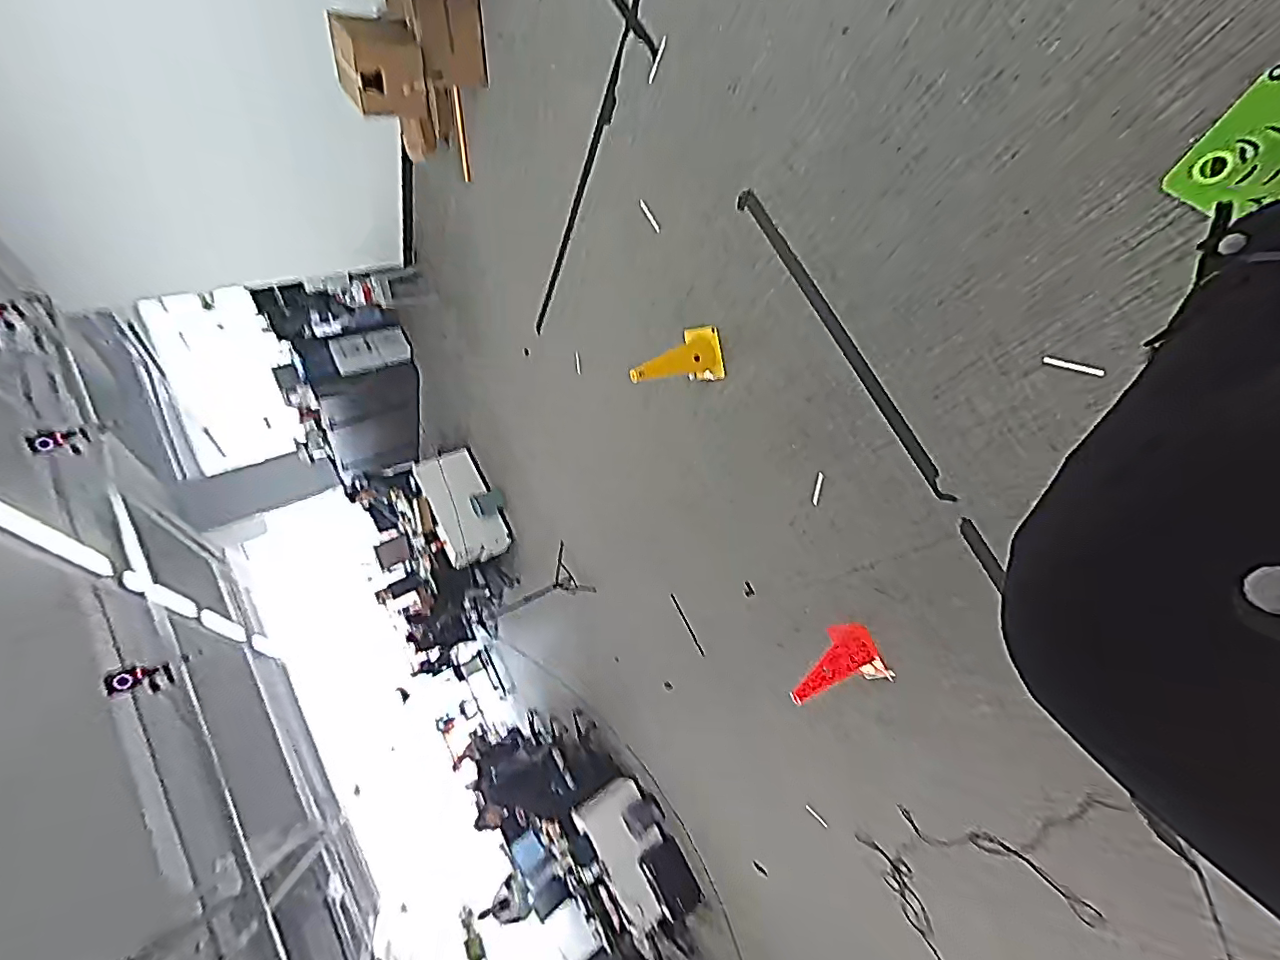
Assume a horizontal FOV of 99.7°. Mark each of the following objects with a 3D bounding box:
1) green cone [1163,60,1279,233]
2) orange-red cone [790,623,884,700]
[{"bbox_3d":[0.896,-0.479,0.802,0.202,0.368,0.200,52,148,23],"label":"green cone"},{"bbox_3d":[0.687,0.699,1.994,0.198,0.360,0.199,-31,82,60],"label":"orange-red cone"}]
